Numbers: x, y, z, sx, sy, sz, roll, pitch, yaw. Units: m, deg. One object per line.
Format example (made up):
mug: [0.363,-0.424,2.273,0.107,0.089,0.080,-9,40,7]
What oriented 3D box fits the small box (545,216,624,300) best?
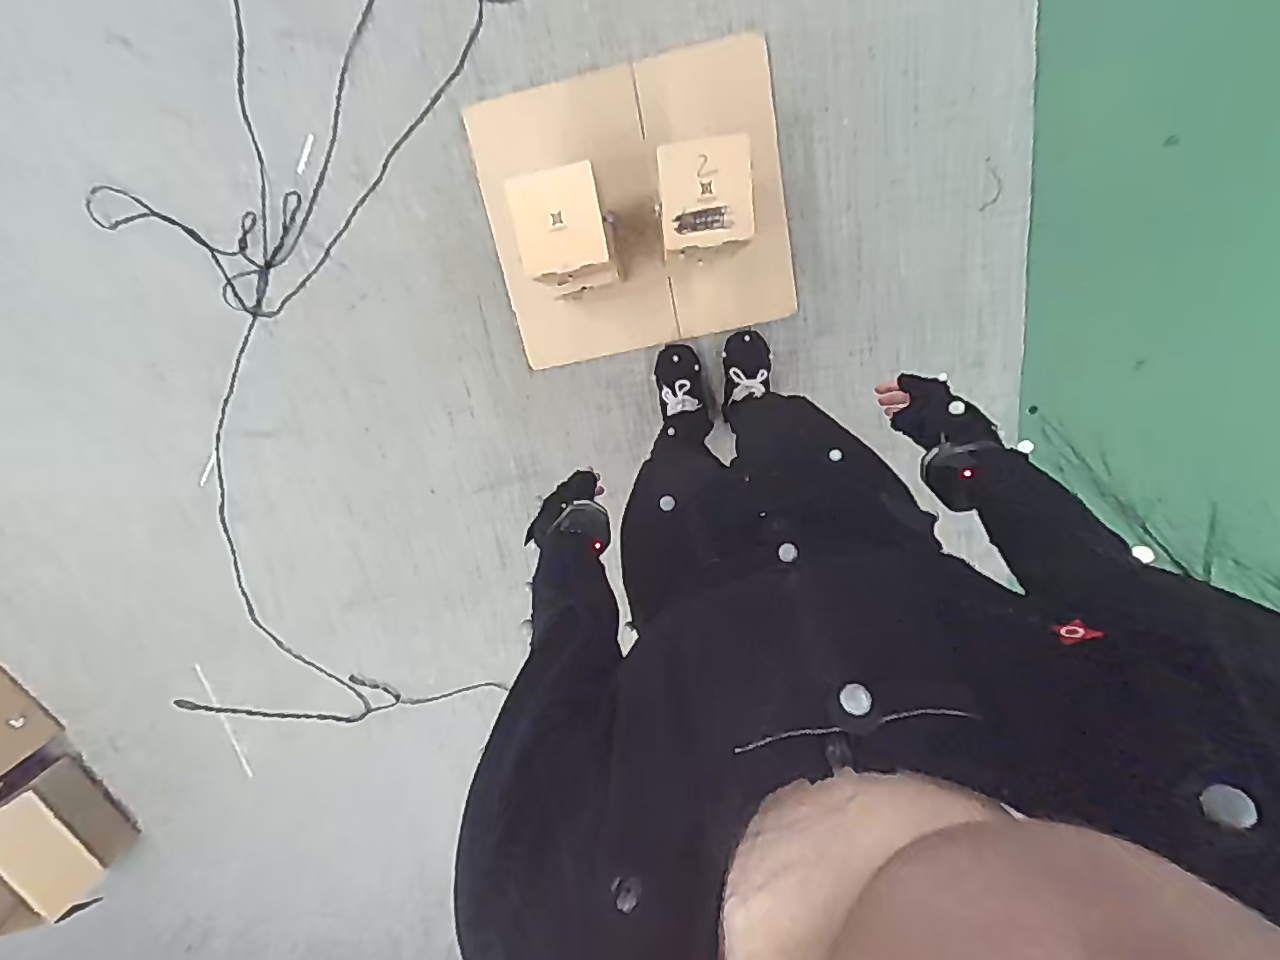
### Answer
small box: [-0.137,-0.521,1.239,0.168,0.176,0.179,-12,106,7]

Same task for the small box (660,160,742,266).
small box: [0.132,-0.587,1.209,0.168,0.176,0.179,-6,108,6]

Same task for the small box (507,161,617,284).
small box: [-0.146,-0.500,1.076,0.168,0.176,0.179,-10,106,6]
